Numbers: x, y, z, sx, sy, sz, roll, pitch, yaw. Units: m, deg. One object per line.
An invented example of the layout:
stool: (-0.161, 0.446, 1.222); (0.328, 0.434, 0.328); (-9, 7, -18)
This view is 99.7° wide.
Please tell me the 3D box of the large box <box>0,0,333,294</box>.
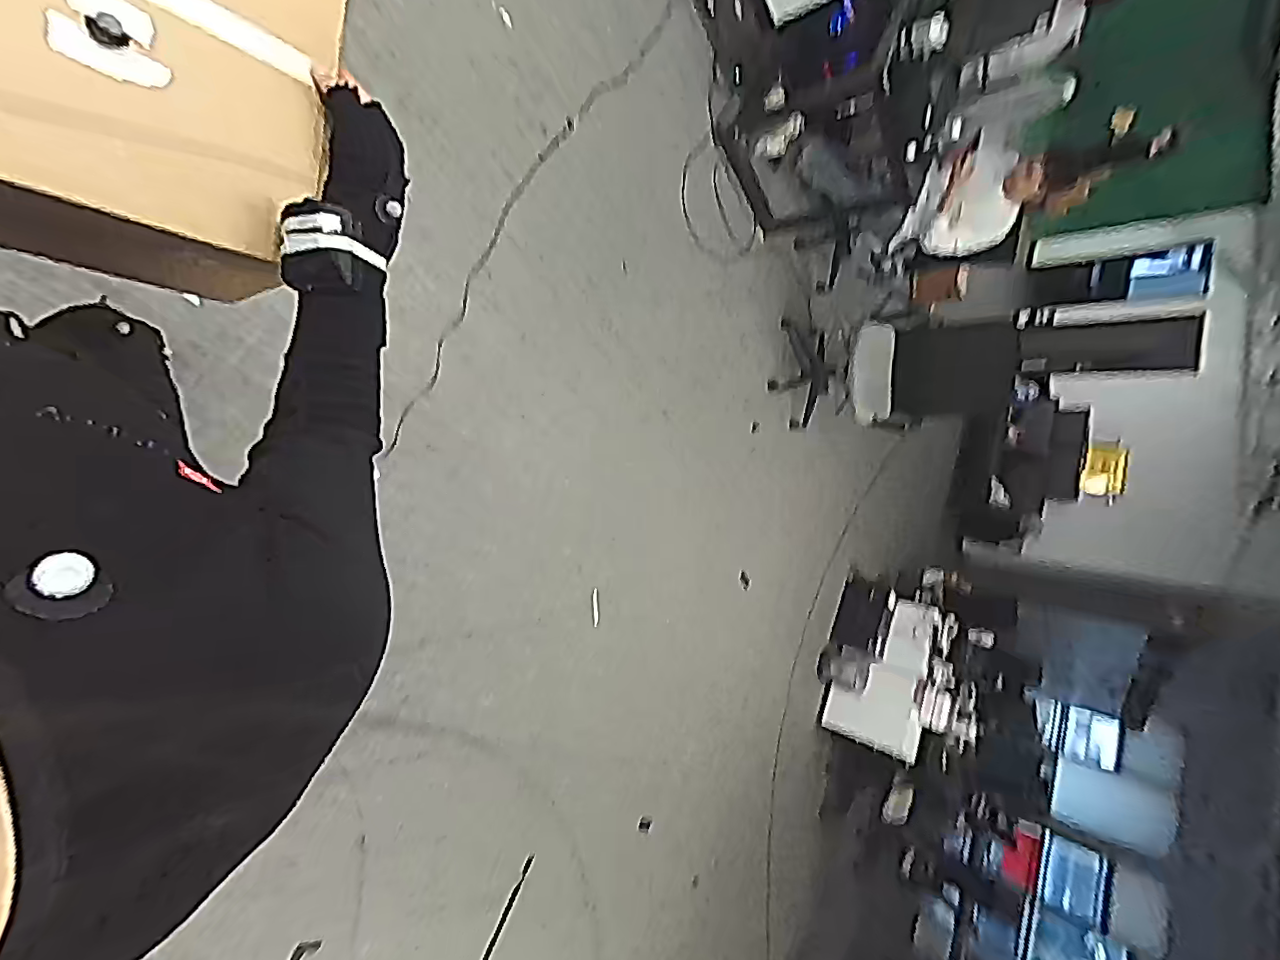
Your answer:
large box: (-0.513, -0.366, 0.412); (0.408, 0.320, 0.320); (4, 95, -49)
